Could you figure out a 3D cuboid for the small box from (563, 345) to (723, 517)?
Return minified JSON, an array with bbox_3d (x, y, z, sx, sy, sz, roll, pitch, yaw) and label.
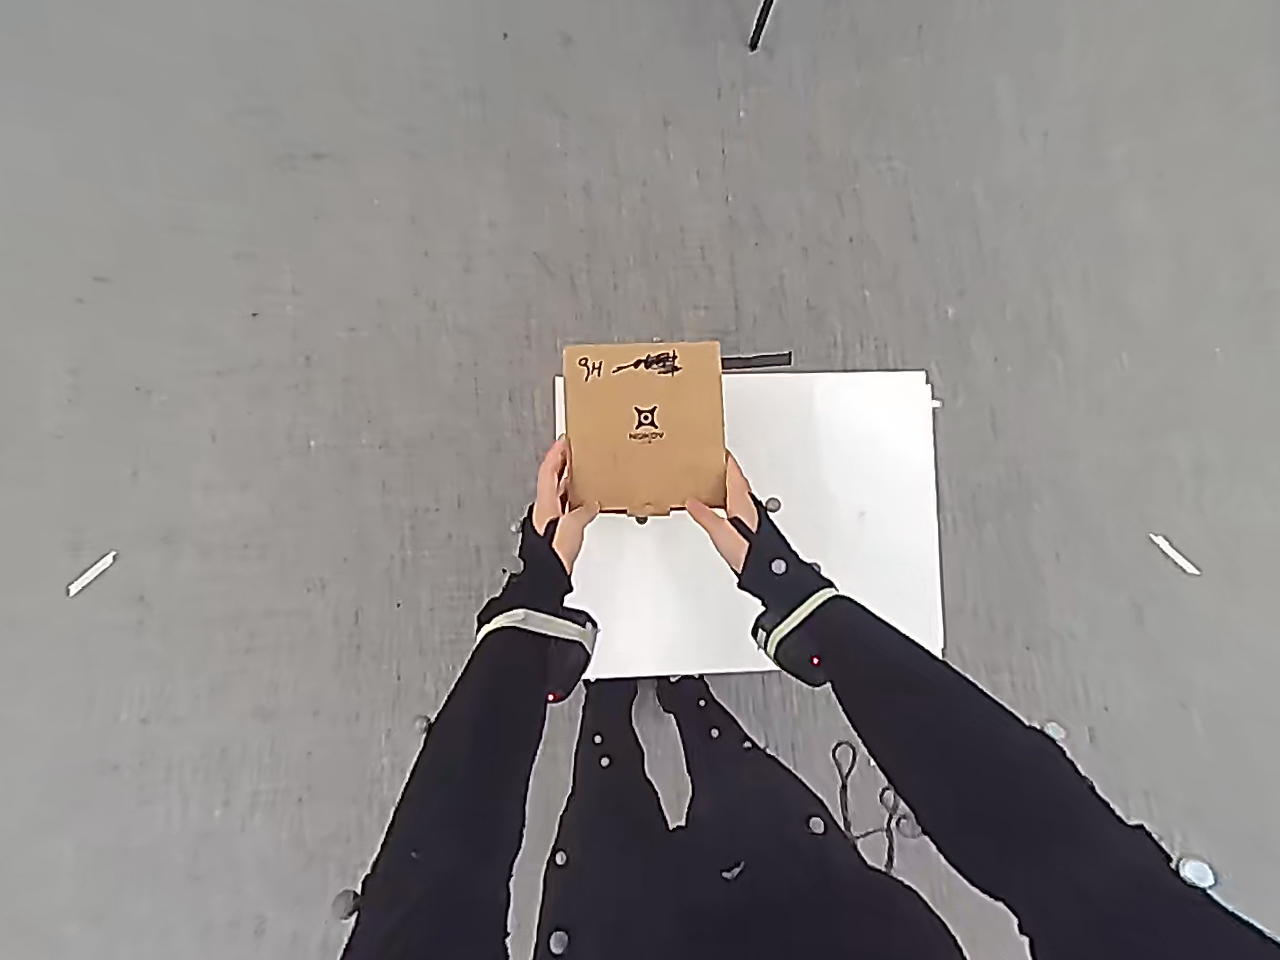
[{"bbox_3d":[-0.001,-0.051,0.636,0.168,0.176,0.179,-2,89,-4],"label":"small box"}]
